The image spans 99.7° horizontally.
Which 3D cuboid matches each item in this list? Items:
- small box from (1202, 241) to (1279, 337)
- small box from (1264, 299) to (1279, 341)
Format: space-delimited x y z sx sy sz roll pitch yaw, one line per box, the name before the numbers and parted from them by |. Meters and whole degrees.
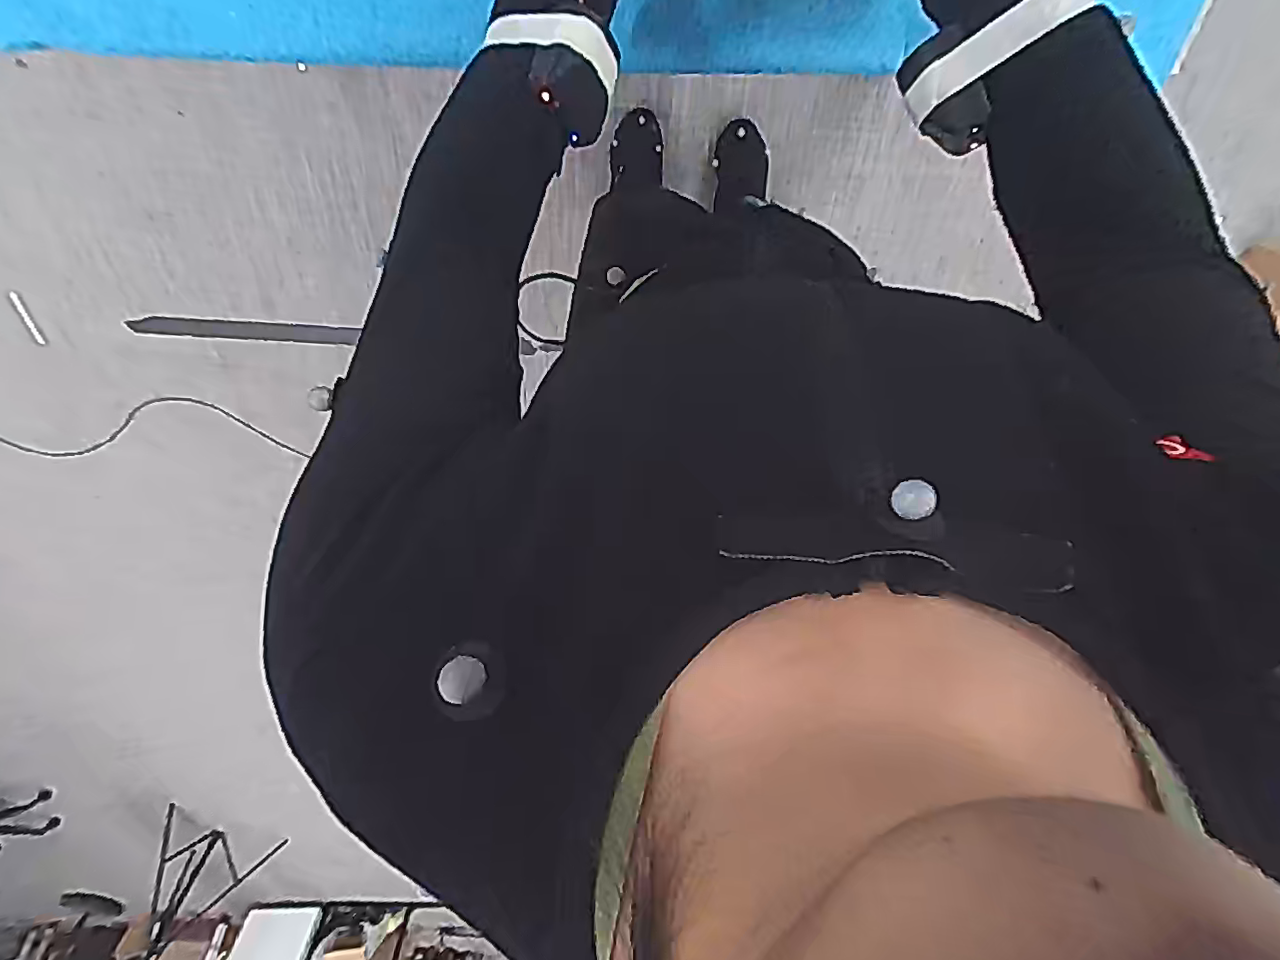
small box | 1.528 -0.454 1.294 0.168 0.176 0.179 3 126 -4
small box | 1.541 -0.353 1.160 0.168 0.176 0.179 33 119 -23
